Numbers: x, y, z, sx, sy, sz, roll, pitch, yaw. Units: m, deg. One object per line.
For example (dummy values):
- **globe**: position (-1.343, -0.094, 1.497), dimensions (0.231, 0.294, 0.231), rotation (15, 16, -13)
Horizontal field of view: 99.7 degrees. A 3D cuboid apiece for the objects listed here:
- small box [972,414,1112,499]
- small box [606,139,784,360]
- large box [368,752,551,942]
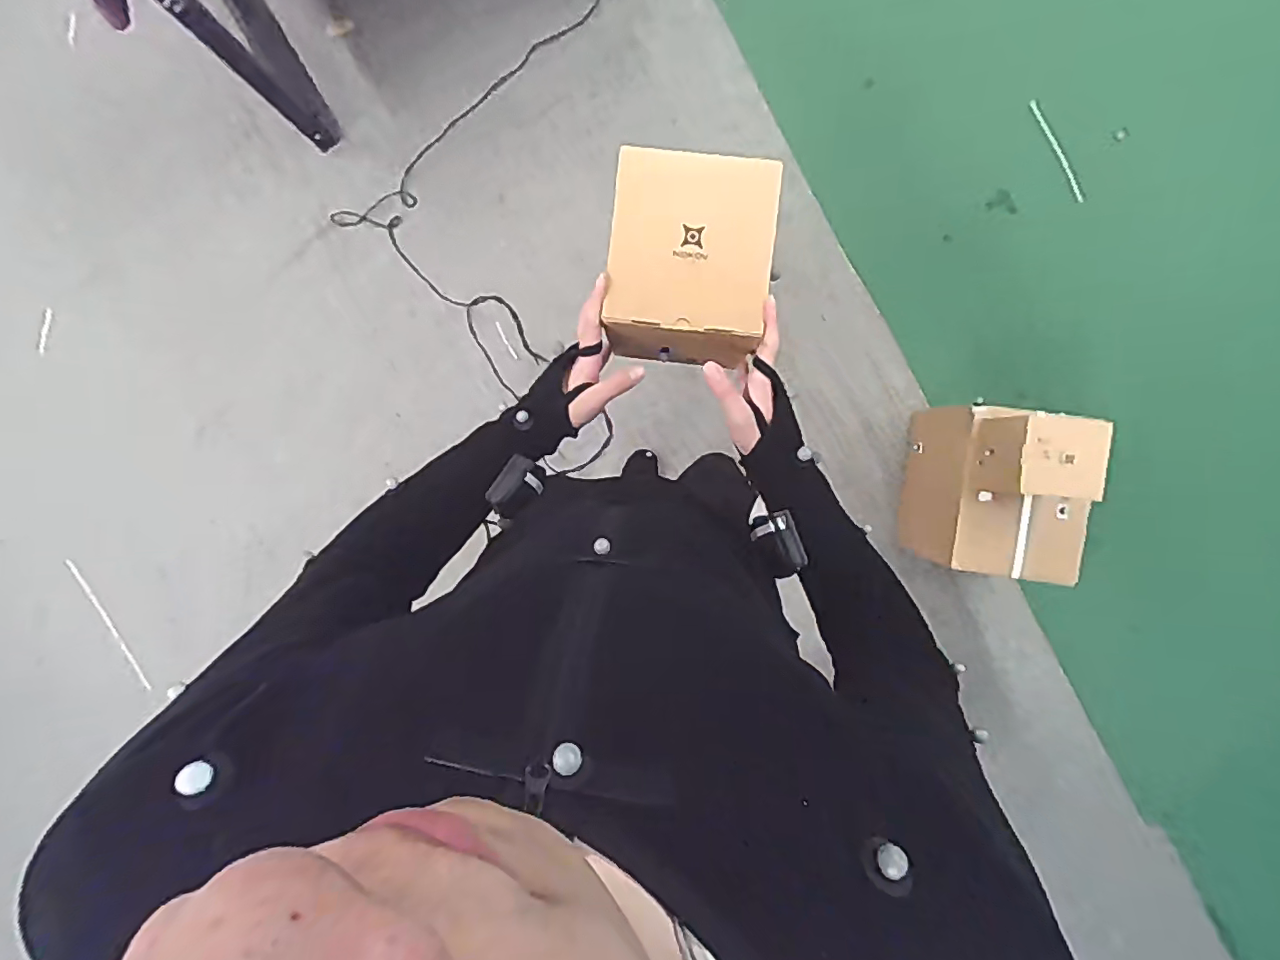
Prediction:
- **small box**: position (0.886, -0.055, 1.206), dimensions (0.179, 0.176, 0.168), rotation (6, 94, 2)
- **small box**: position (0.053, -0.246, 0.616), dimensions (0.168, 0.176, 0.179), rotation (5, 93, 0)
- **large box**: position (-0.490, 1.020, 1.542), dimensions (0.408, 0.320, 0.320), rotation (-5, 94, 0)
